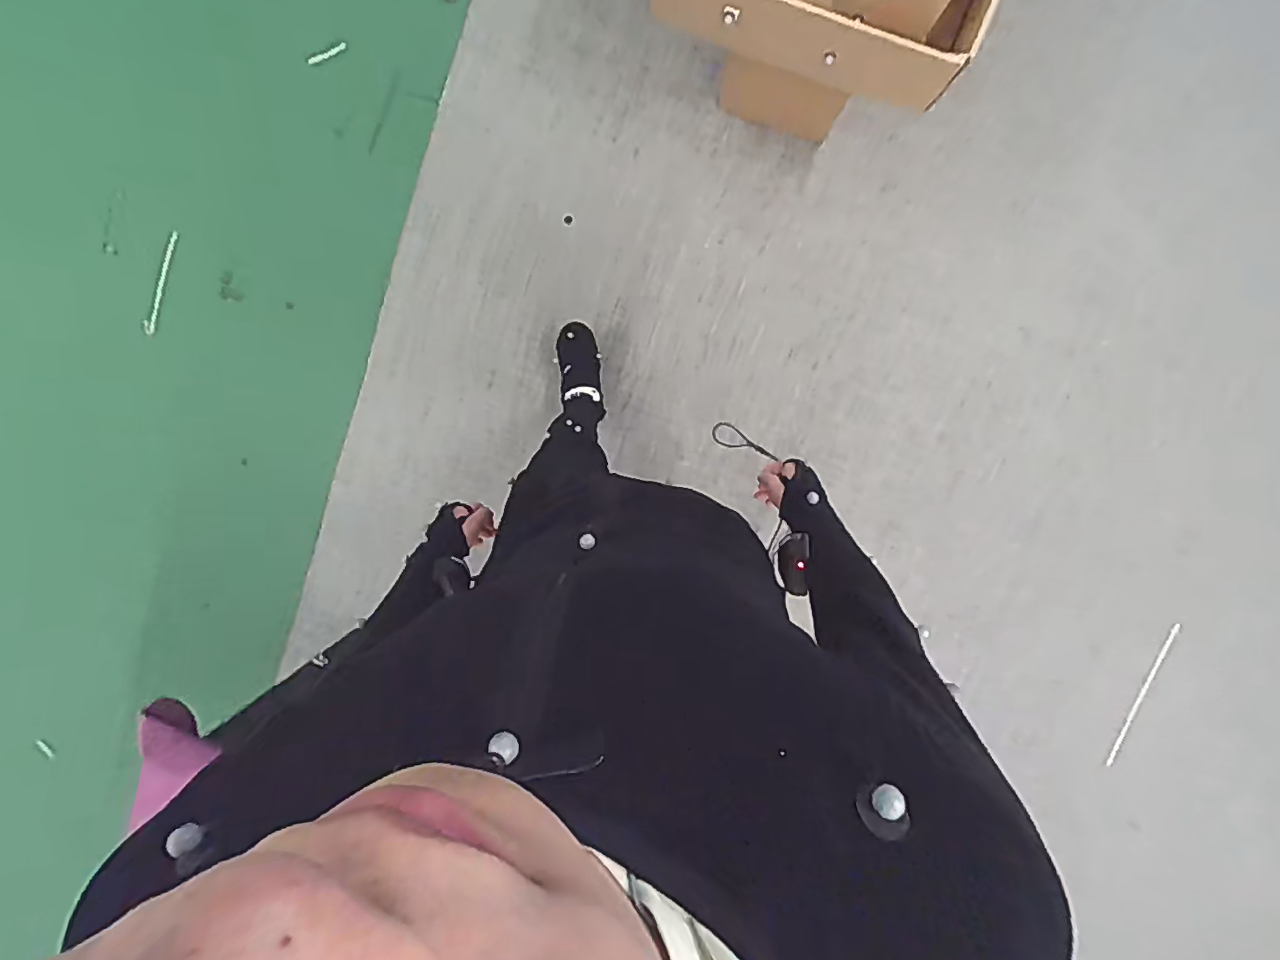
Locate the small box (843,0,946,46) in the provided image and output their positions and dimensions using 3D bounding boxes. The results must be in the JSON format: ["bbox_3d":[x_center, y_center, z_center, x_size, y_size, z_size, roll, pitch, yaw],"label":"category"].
[{"bbox_3d":[0.487,-0.938,0.968,0.168,0.176,0.179,20,96,0],"label":"small box"}]
